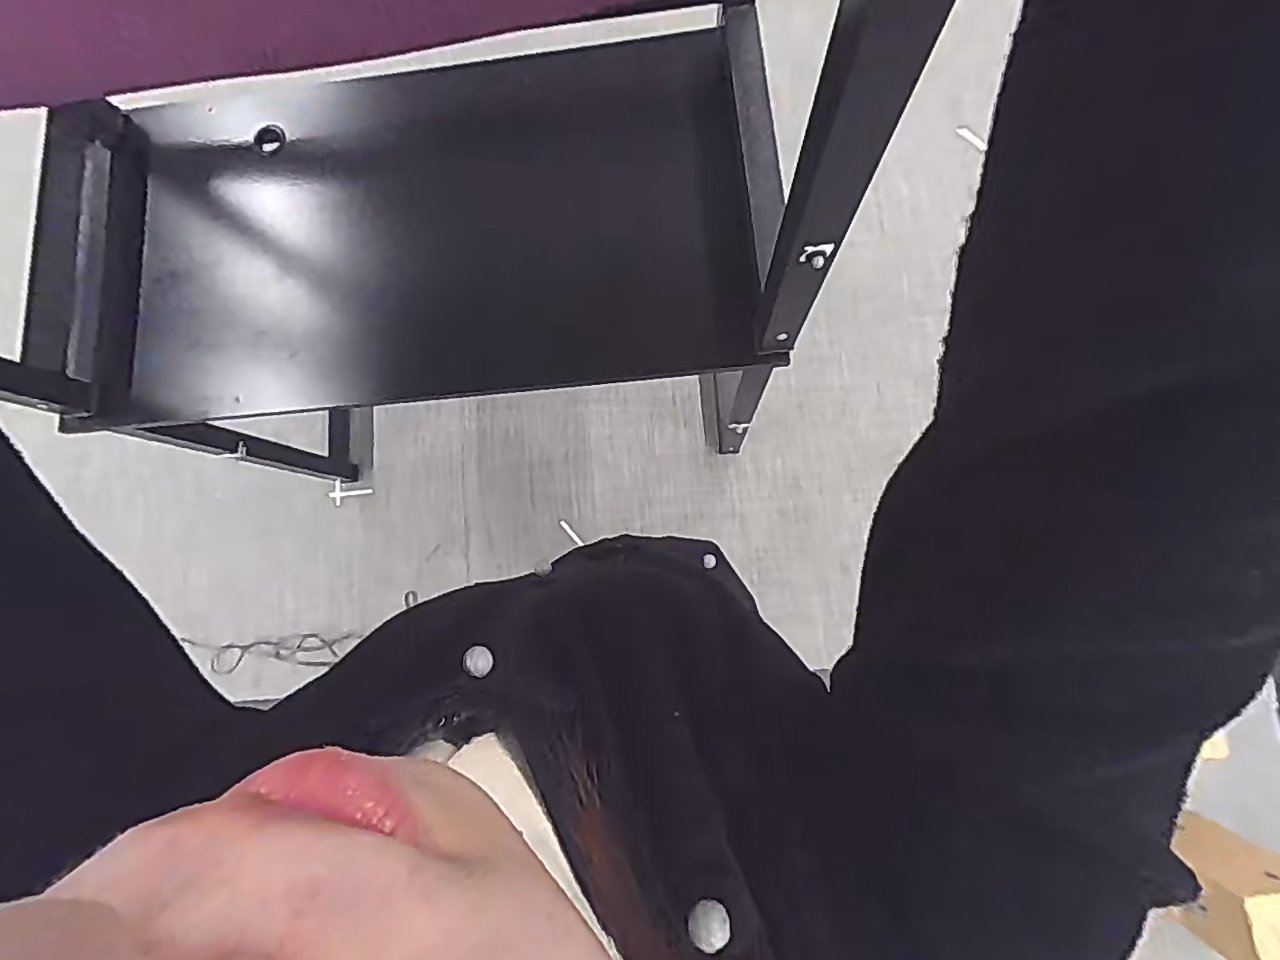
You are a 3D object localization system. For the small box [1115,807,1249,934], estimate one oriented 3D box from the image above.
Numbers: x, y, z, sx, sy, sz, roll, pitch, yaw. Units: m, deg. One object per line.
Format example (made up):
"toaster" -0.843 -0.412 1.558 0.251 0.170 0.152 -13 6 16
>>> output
"small box" 1.232 0.873 1.222 0.179 0.176 0.168 -12 81 3

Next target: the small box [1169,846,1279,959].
"small box" 1.218 0.851 1.059 0.179 0.176 0.168 -11 81 3
